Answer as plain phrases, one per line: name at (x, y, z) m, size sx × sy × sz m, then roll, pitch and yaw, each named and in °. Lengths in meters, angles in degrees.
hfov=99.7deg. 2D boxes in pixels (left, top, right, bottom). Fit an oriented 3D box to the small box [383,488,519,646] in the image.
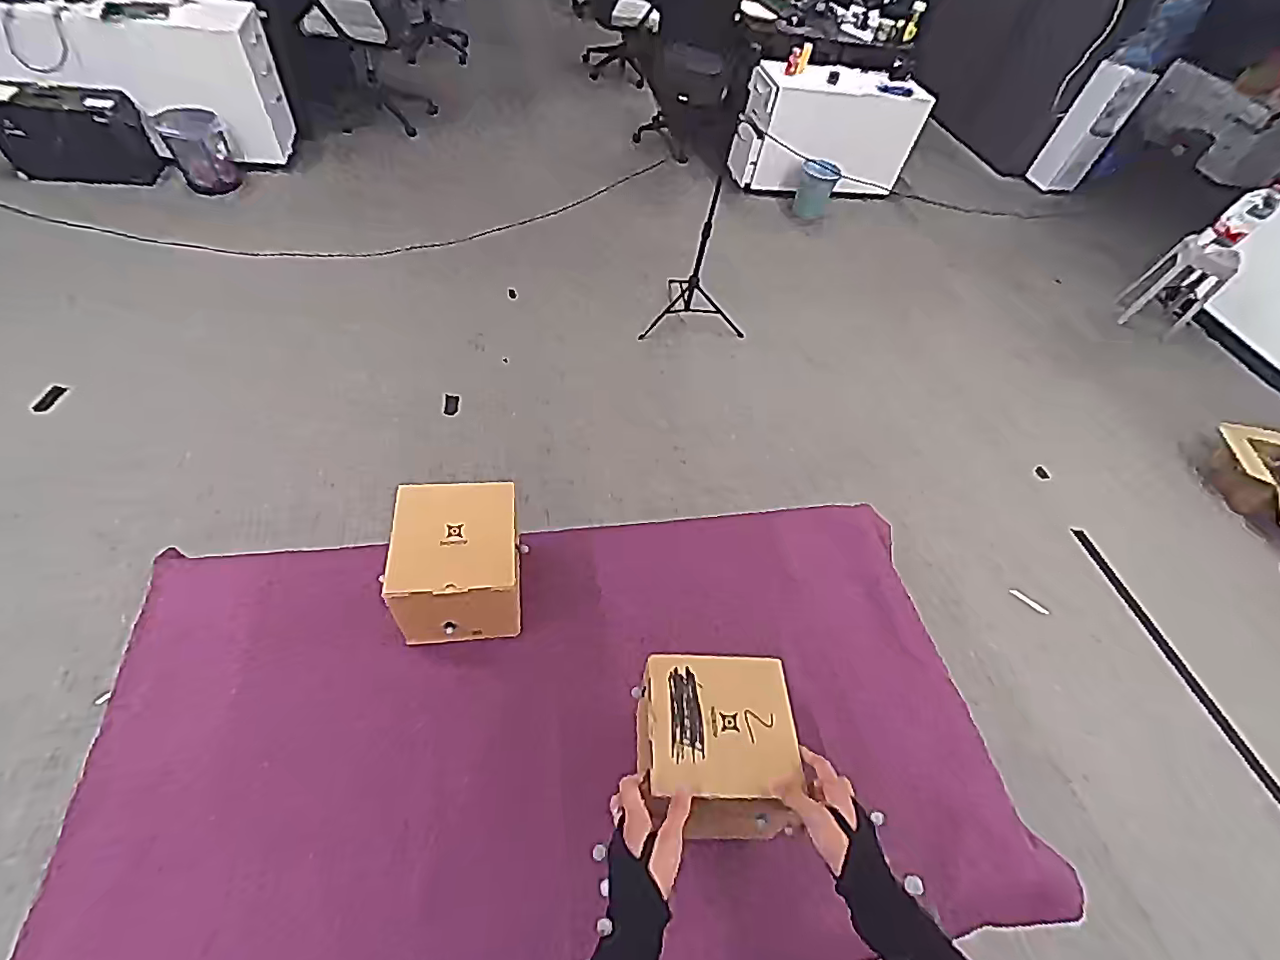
small box at (-0.270, 0.130, 0.810) m, size 0.168 × 0.176 × 0.179 m, roll -2°, pitch 54°, yaw -12°
